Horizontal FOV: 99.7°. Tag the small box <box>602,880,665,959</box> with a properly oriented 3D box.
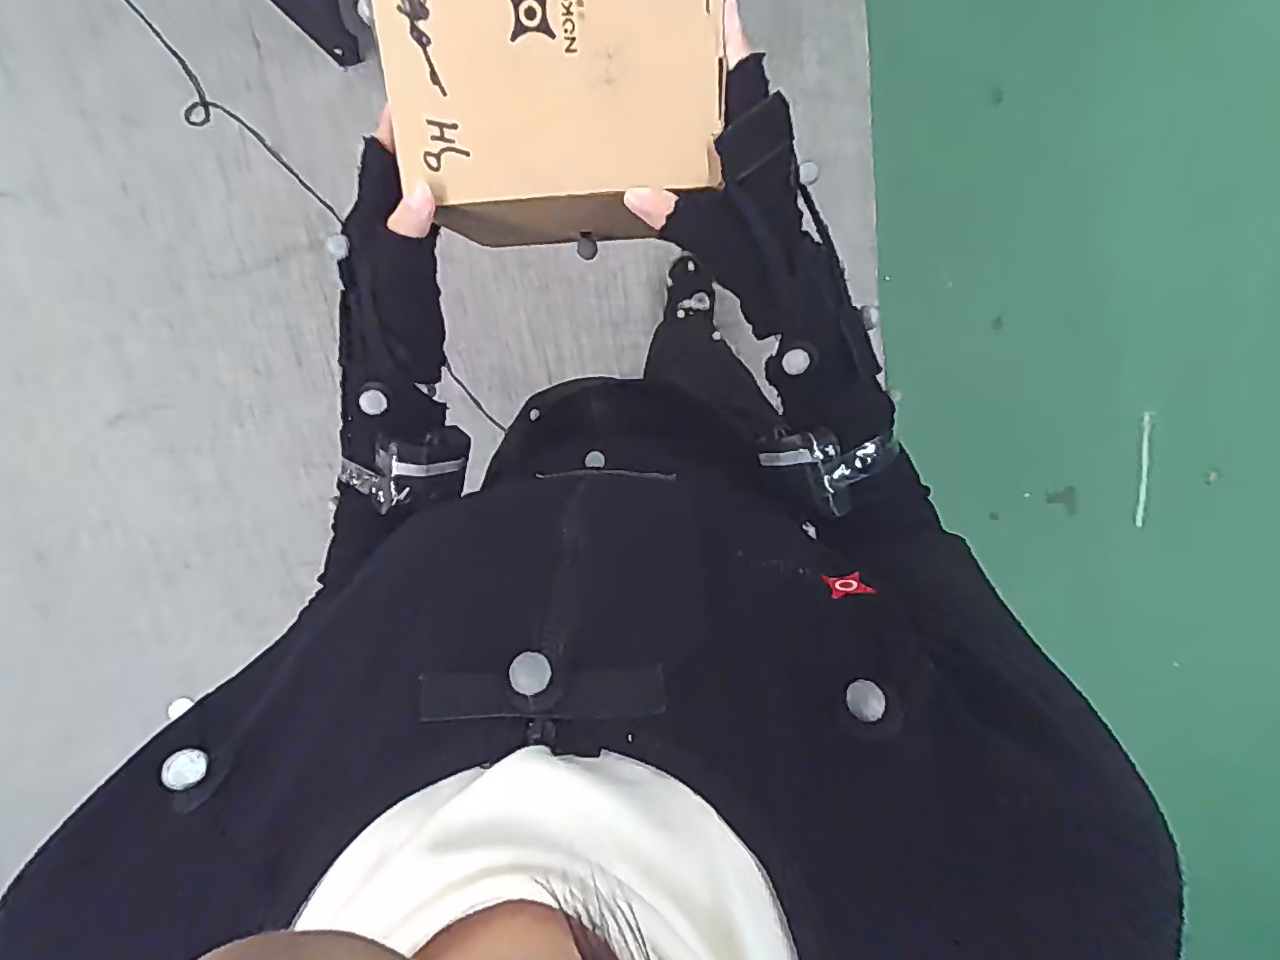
[{"bbox_3d":[-0.017,1.400,1.693,0.179,0.176,0.168,-8,104,1],"label":"small box"}]

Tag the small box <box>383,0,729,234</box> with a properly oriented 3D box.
[{"bbox_3d":[-0.045,-0.265,0.350,0.179,0.176,0.168,-4,105,0],"label":"small box"}]
